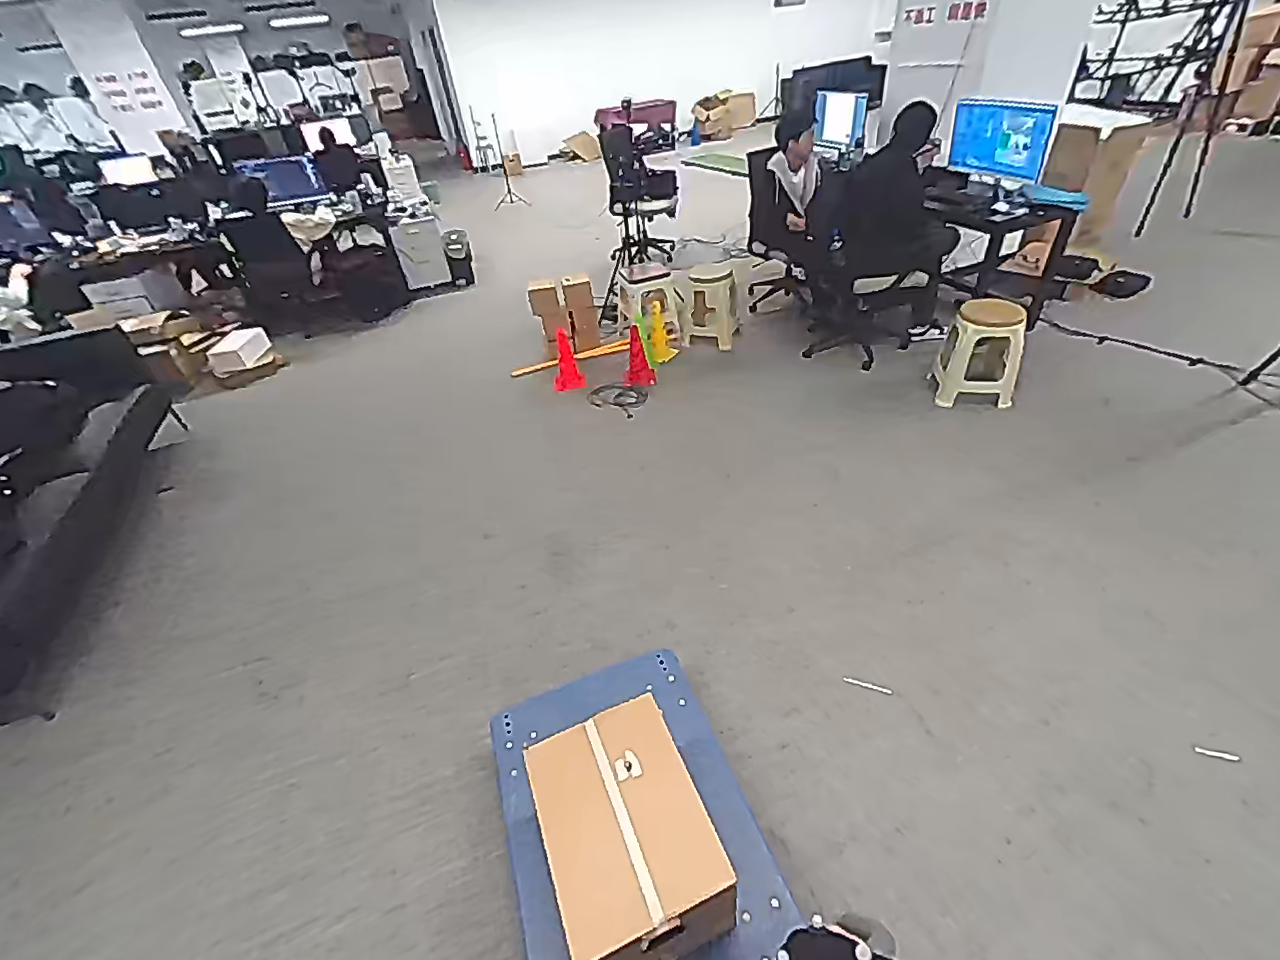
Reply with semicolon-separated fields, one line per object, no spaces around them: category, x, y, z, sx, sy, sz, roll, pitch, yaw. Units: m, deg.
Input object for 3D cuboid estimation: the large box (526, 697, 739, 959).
large box;-0.018;0.781;1.182;0.320;0.320;0.408;-20;40;-13
